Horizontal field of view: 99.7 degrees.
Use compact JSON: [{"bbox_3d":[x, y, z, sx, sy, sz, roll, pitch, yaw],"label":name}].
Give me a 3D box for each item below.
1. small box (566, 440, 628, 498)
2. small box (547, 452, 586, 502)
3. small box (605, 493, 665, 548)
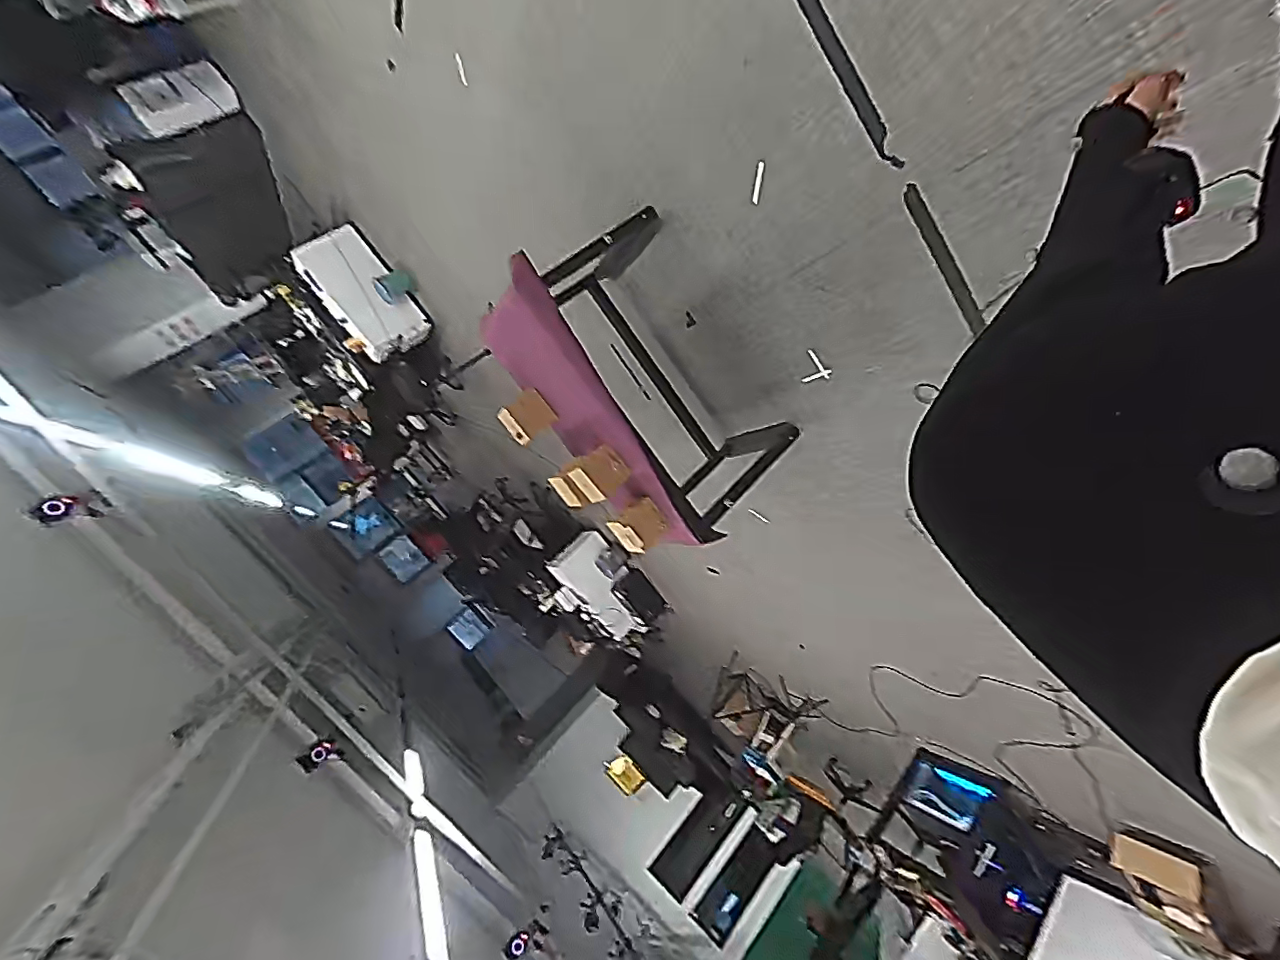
[{"bbox_3d":[-0.175,-0.045,2.248,0.168,0.176,0.179,50,158,-9],"label":"small box"},{"bbox_3d":[-0.296,-0.015,2.501,0.168,0.176,0.179,55,156,-15],"label":"small box"},{"bbox_3d":[-0.016,0.171,2.308,0.168,0.176,0.179,53,158,-11],"label":"small box"}]
